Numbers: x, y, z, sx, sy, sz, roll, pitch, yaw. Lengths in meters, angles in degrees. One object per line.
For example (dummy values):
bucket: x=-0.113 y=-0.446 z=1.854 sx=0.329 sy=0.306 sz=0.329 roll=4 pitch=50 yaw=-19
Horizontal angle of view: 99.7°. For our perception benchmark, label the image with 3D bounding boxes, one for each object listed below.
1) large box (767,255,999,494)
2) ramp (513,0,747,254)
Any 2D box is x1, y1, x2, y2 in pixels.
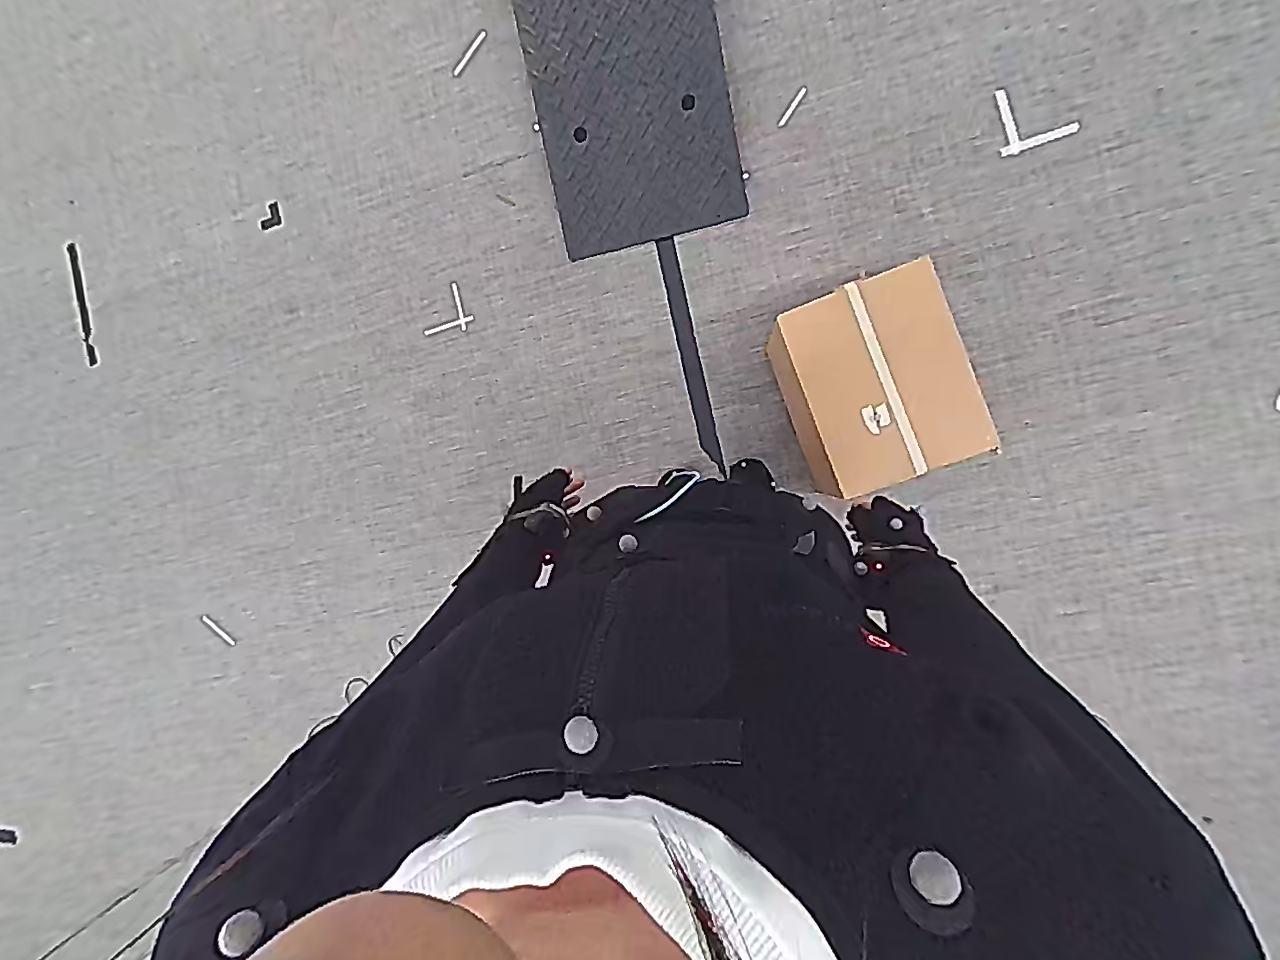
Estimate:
large box: x=0.513 y=-0.214 z=1.226 sx=0.320 sy=0.320 sz=0.408 roll=-20 pitch=89 yaw=10
ramp: x=-0.057 y=-1.136 z=1.349 sx=0.509 sy=0.206 sz=0.991 roll=-12 pitch=90 yaw=8
